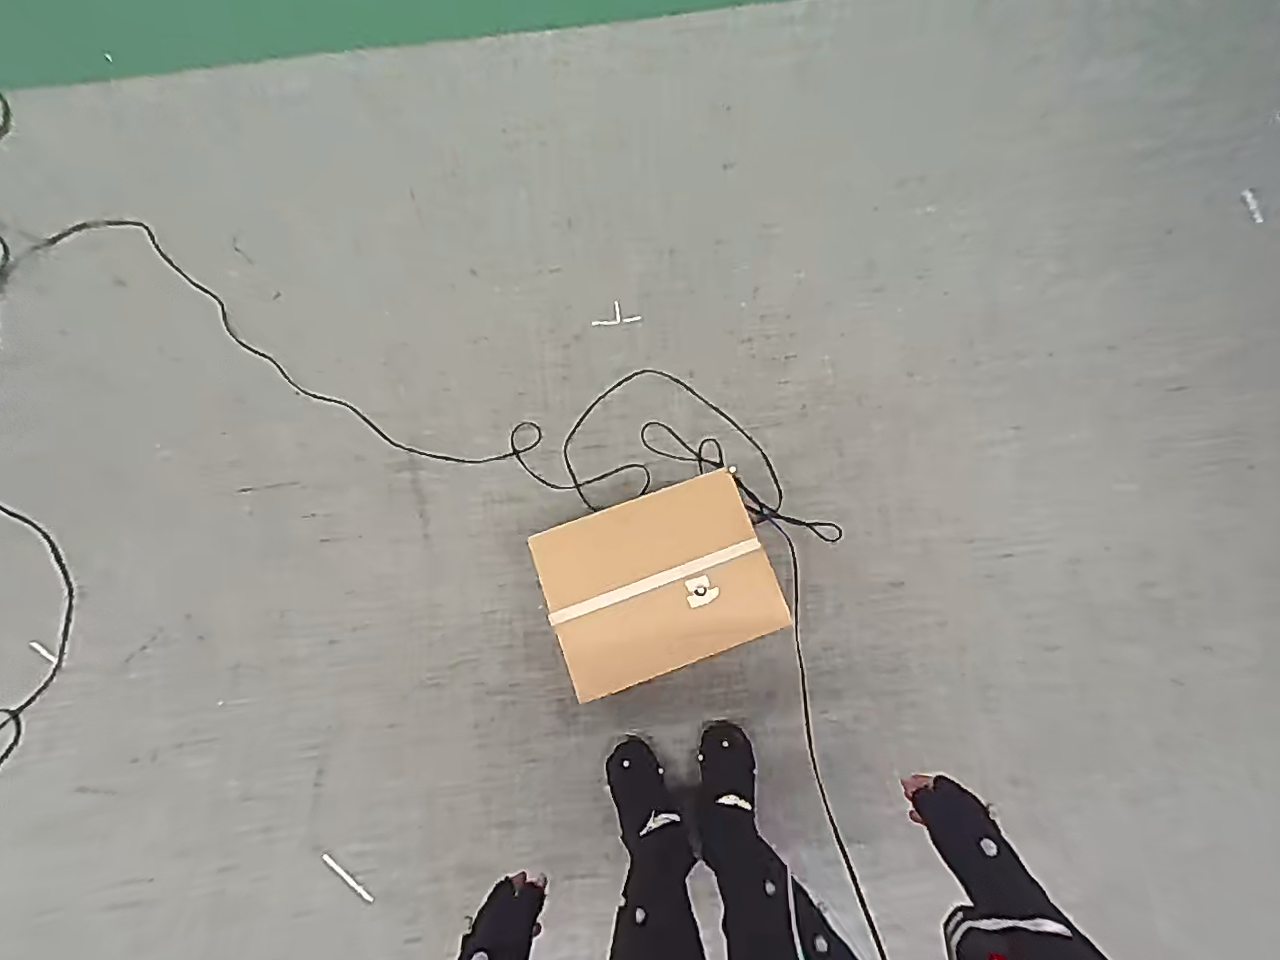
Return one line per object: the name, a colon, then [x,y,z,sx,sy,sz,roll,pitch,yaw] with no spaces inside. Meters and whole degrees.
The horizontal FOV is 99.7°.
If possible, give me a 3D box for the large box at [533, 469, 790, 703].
large box: [0.034,0.221,1.131,0.408,0.320,0.320,-20,77,-5]
